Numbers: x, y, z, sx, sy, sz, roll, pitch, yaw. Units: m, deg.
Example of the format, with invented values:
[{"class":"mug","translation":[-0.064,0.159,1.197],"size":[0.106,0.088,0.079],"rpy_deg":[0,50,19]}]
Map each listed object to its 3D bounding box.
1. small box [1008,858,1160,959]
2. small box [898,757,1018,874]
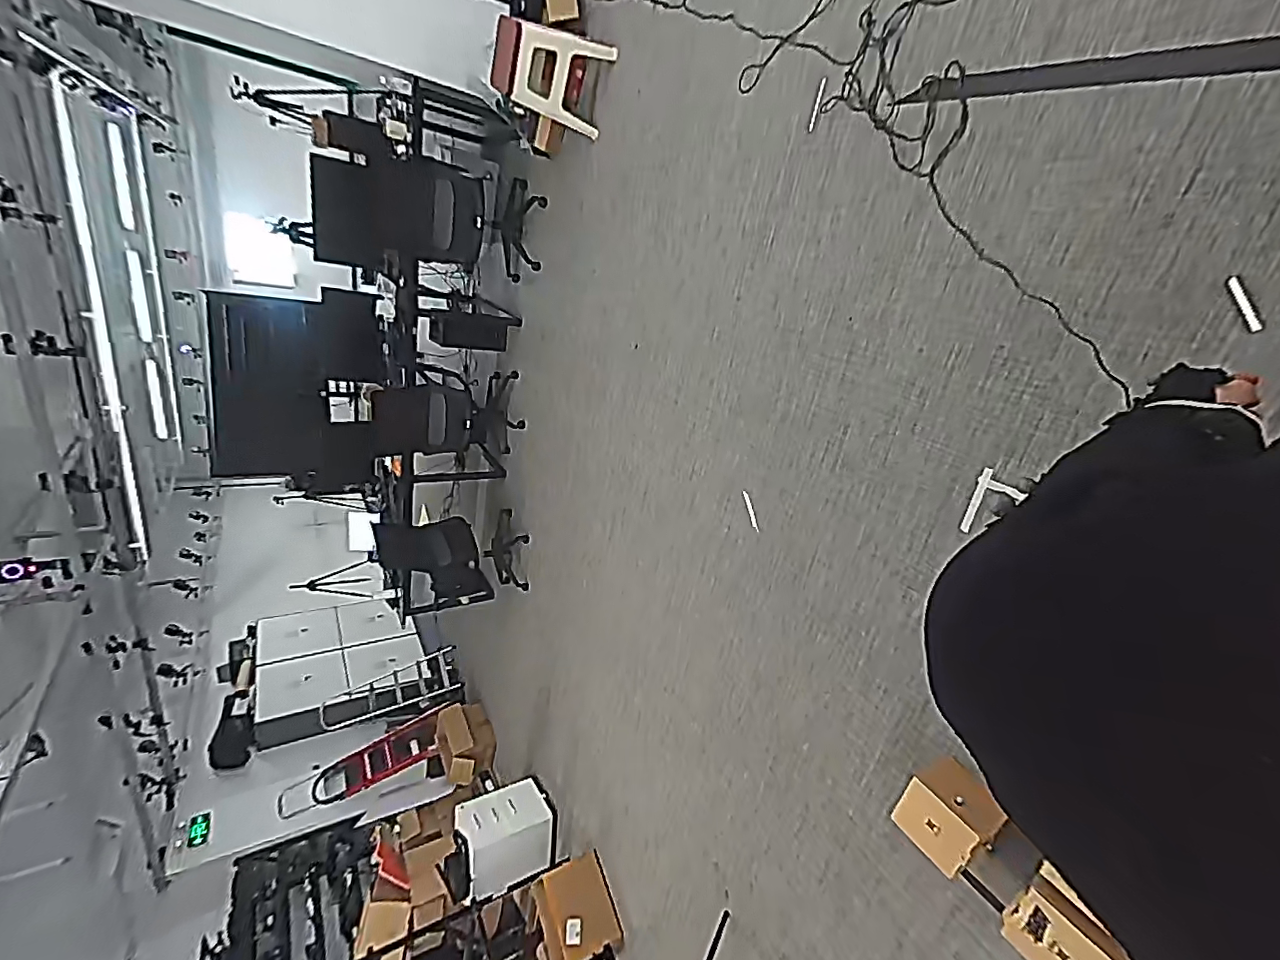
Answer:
[{"class":"small box","translation":[0.953,0.960,1.165],"size":[0.179,0.176,0.168],"rpy_deg":[39,125,47]},{"class":"small box","translation":[0.808,0.839,1.377],"size":[0.179,0.176,0.168],"rpy_deg":[40,126,47]}]
